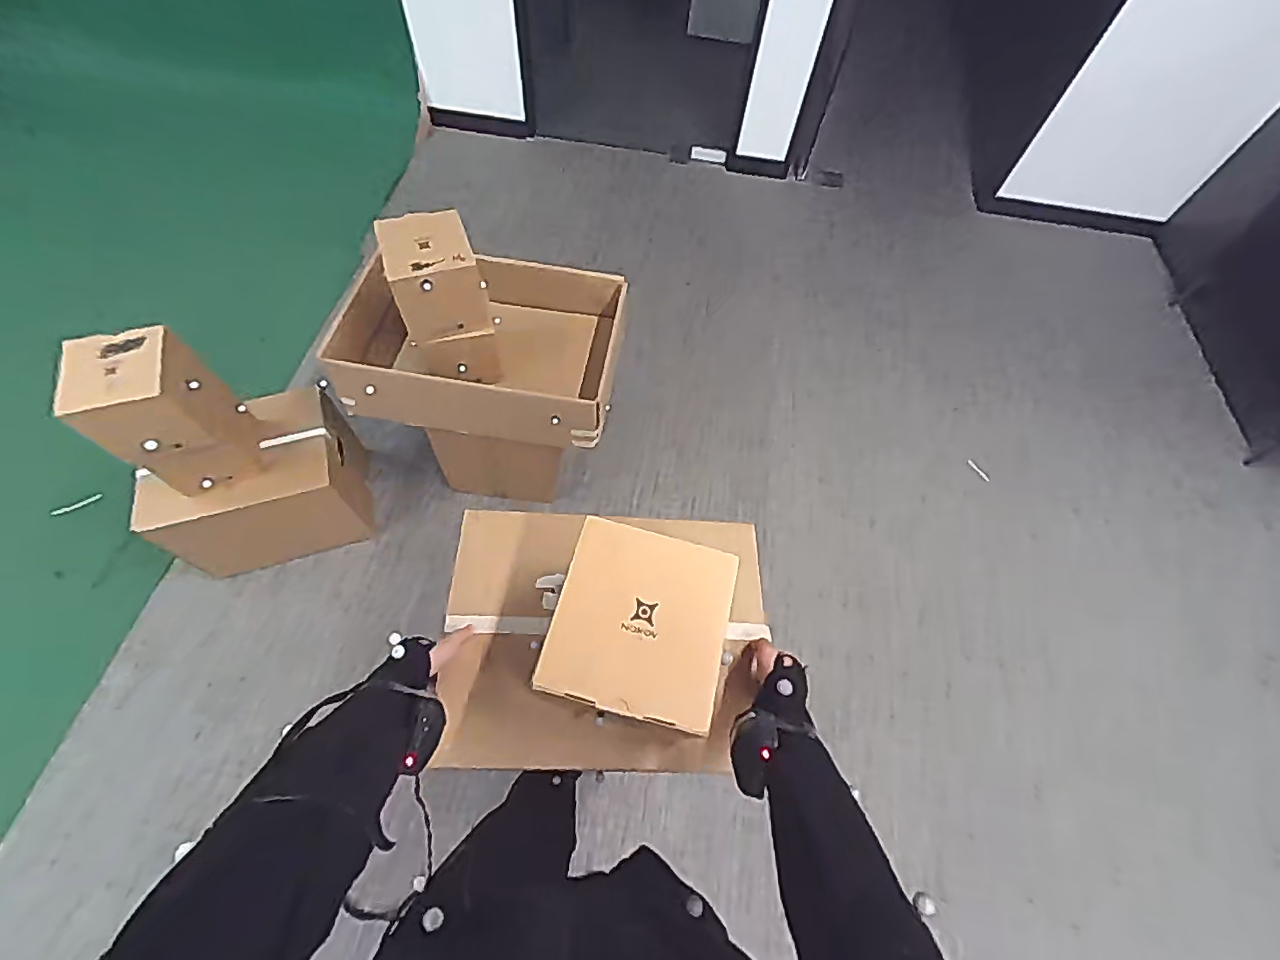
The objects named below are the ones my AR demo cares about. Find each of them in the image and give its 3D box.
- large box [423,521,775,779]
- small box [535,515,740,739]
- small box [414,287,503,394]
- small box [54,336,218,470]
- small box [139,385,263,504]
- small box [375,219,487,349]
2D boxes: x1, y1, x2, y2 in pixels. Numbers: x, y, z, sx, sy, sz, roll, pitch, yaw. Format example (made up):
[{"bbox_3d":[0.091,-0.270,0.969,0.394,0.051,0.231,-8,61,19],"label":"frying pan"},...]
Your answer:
[{"bbox_3d":[-0.051,0.265,0.806,0.408,0.320,0.320,2,61,-3],"label":"large box"},{"bbox_3d":[-0.005,0.165,0.585,0.168,0.176,0.179,15,63,2],"label":"small box"},{"bbox_3d":[-0.423,-0.317,1.258,0.168,0.176,0.179,-12,62,-12],"label":"small box"},{"bbox_3d":[-0.959,-0.146,1.050,0.168,0.176,0.179,-16,64,-12],"label":"small box"},{"bbox_3d":[-0.974,-0.075,1.198,0.168,0.176,0.179,-20,64,-14],"label":"small box"},{"bbox_3d":[-0.427,-0.403,1.117,0.168,0.176,0.179,-17,63,-14],"label":"small box"}]
